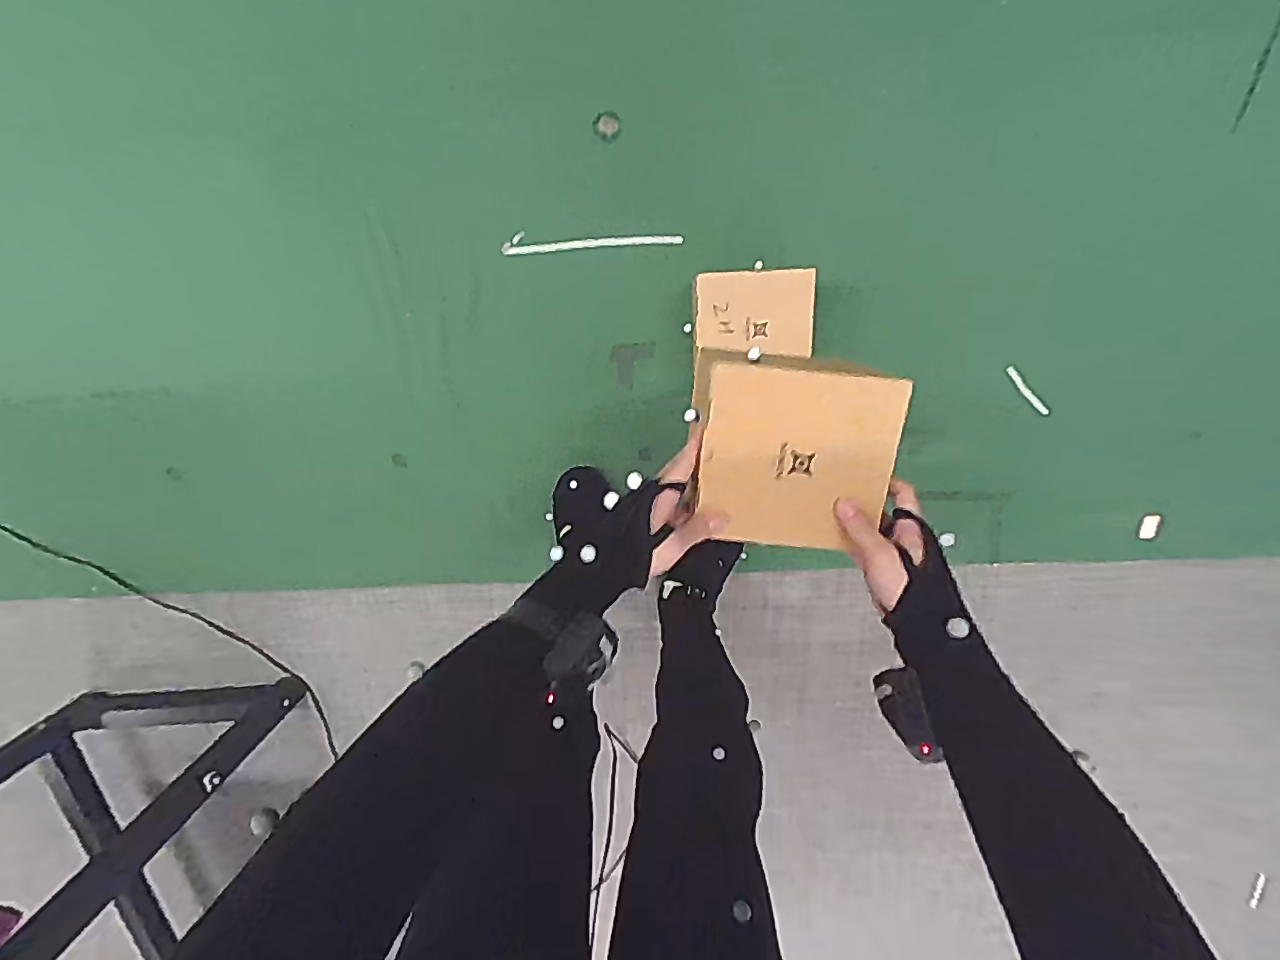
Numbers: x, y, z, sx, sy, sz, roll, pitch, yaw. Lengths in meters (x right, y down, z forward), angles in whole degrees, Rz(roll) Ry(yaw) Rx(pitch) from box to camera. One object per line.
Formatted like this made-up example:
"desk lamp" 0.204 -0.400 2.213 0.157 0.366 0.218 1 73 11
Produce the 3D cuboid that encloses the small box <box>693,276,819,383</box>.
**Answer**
"small box" 0.180 -0.245 0.891 0.179 0.176 0.168 -1 107 4

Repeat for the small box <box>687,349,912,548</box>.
"small box" 0.148 -0.044 0.572 0.179 0.176 0.168 6 108 1
